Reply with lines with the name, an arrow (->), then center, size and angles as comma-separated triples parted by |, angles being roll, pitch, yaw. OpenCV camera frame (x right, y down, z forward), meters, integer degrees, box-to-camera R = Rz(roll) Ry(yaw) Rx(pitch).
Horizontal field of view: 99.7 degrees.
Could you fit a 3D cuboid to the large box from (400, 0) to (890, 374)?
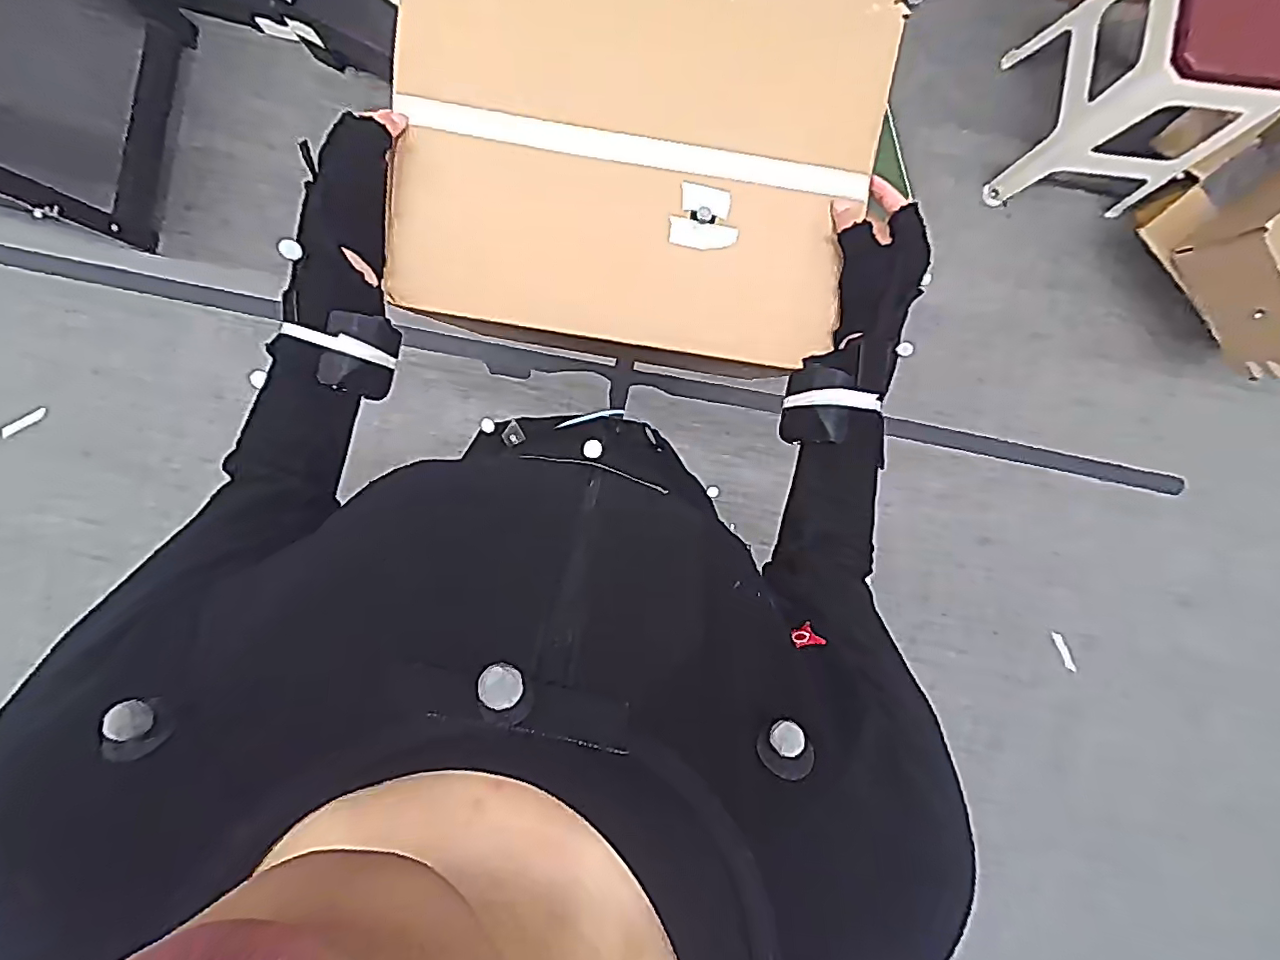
large box -> -0.008, -0.306, 0.622 | 0.408, 0.320, 0.320 | 9, 100, -3
